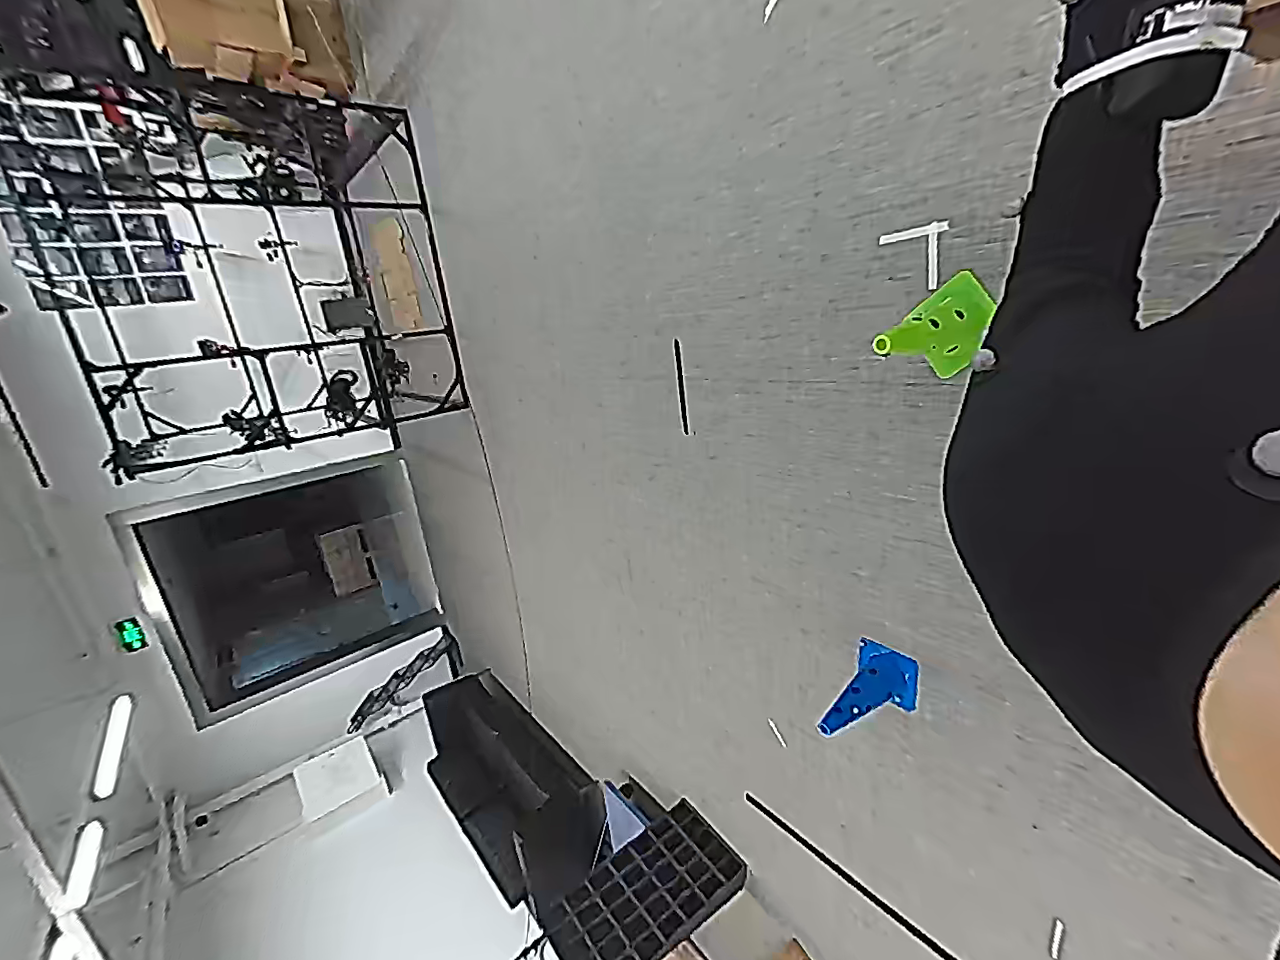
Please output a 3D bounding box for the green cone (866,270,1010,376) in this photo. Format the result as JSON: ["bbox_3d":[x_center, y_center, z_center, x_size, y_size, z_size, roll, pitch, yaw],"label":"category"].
[{"bbox_3d":[0.651,-0.344,1.264,0.200,0.368,0.202,62,146,14],"label":"green cone"}]

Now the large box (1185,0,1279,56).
[{"bbox_3d":[0.560,-0.457,0.230,0.408,0.320,0.320,16,123,50],"label":"large box"}]

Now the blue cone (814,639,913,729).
[{"bbox_3d":[0.694,0.688,1.728,0.192,0.380,0.193,21,122,50],"label":"blue cone"}]
